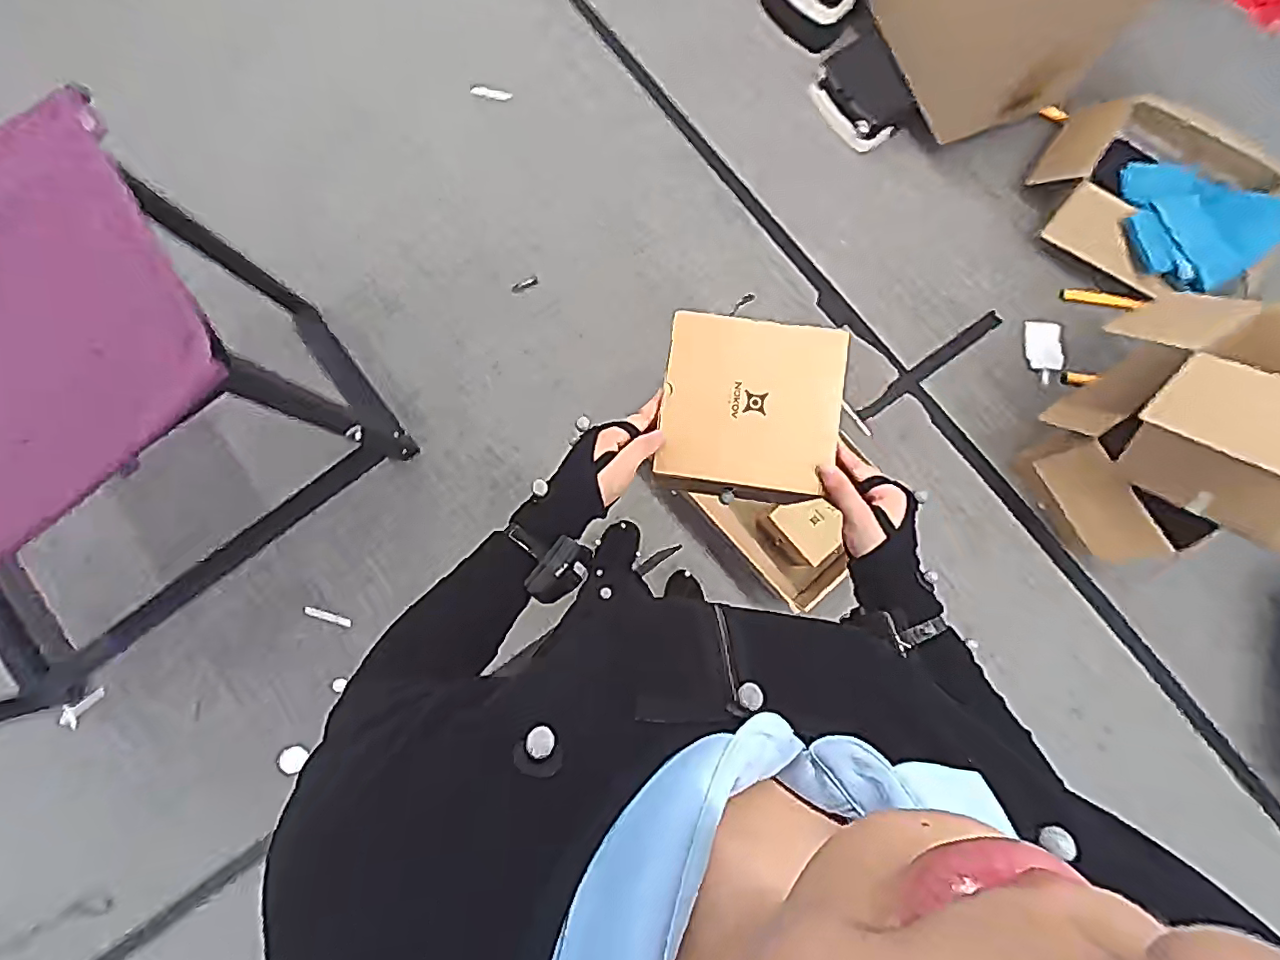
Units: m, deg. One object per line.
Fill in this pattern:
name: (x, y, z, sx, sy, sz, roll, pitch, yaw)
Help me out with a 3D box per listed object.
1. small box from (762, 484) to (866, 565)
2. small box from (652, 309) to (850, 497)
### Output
small box: (0.435, 0.104, 1.392, 0.179, 0.176, 0.168, -39, 84, -5)
small box: (0.111, -0.072, 0.601, 0.179, 0.176, 0.168, 7, 86, 4)
